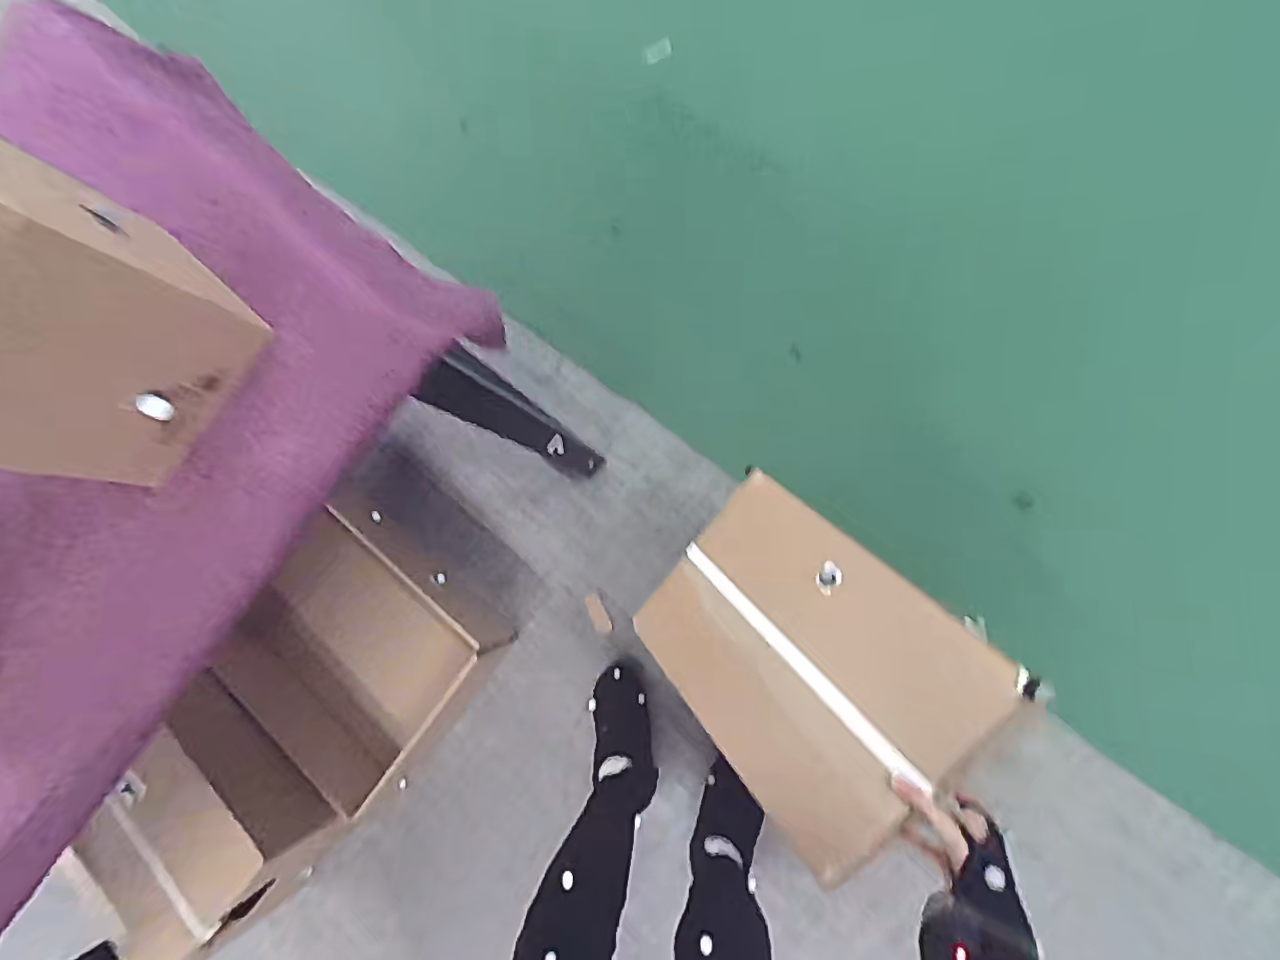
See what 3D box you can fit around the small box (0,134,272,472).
[{"bbox_3d":[-0.430,-0.123,0.393,0.179,0.176,0.168,39,91,15],"label":"small box"}]
